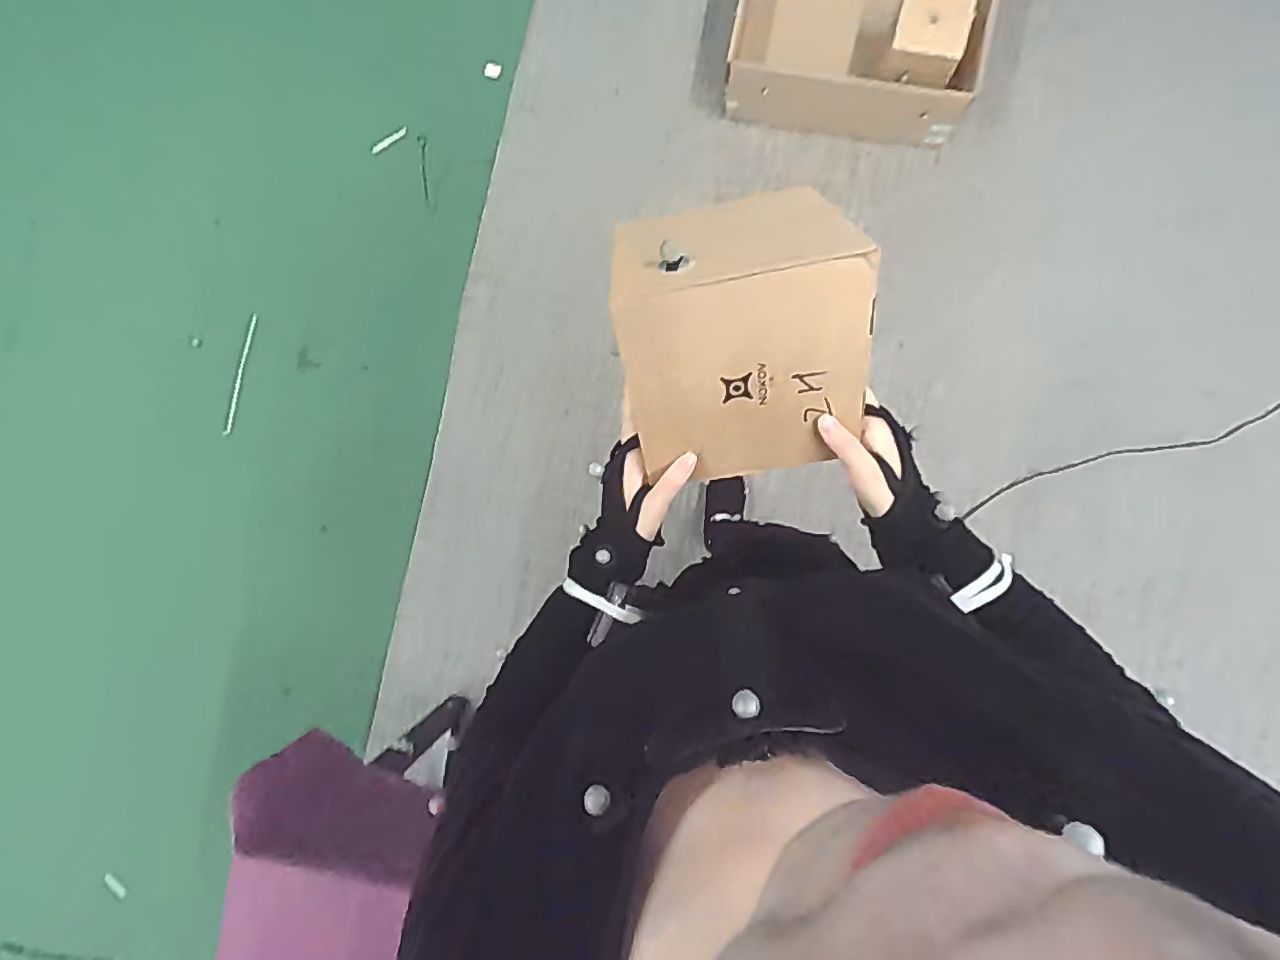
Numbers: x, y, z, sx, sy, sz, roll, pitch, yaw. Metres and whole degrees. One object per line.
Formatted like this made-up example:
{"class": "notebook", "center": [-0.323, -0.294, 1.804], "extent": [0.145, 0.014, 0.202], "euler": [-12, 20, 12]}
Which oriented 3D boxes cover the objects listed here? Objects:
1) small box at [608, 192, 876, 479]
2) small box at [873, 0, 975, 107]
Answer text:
{"class": "small box", "center": [0.075, -0.125, 0.459], "extent": [0.179, 0.176, 0.168], "euler": [-9, 131, 5]}
{"class": "small box", "center": [0.710, -1.094, 1.371], "extent": [0.168, 0.176, 0.179], "euler": [14, 89, 6]}
